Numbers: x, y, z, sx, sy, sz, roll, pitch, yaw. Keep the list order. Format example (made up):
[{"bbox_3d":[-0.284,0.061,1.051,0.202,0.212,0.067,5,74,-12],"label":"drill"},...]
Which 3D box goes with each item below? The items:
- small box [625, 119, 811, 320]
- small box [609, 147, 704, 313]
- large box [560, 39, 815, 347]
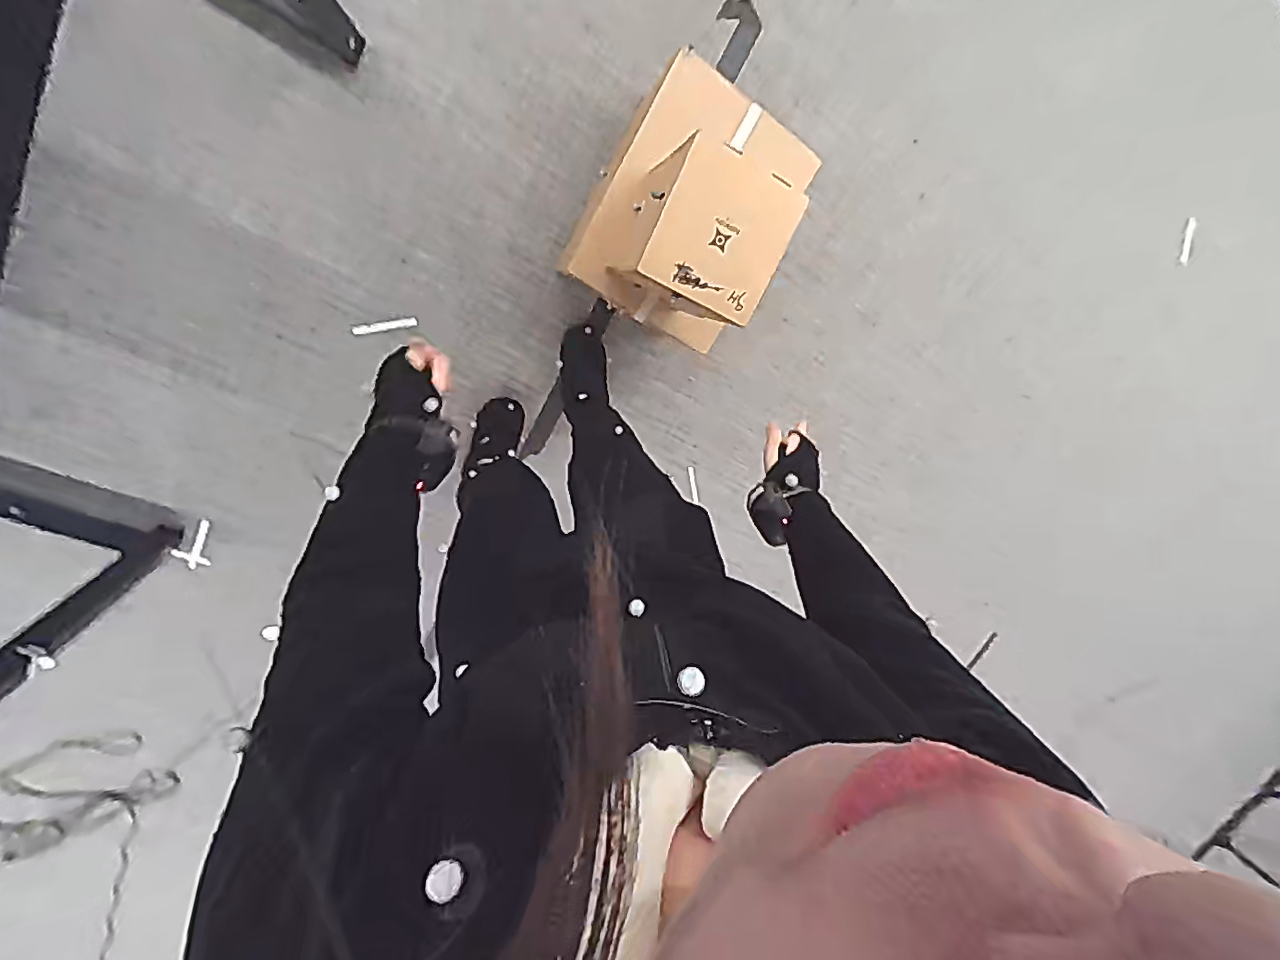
[{"bbox_3d":[0.091,-0.338,0.736,0.168,0.176,0.179,22,104,-17],"label":"small box"},{"bbox_3d":[0.061,-0.399,0.885,0.168,0.176,0.179,25,105,-19],"label":"small box"},{"bbox_3d":[0.064,-0.536,1.100,0.320,0.320,0.408,25,103,-22],"label":"large box"}]
